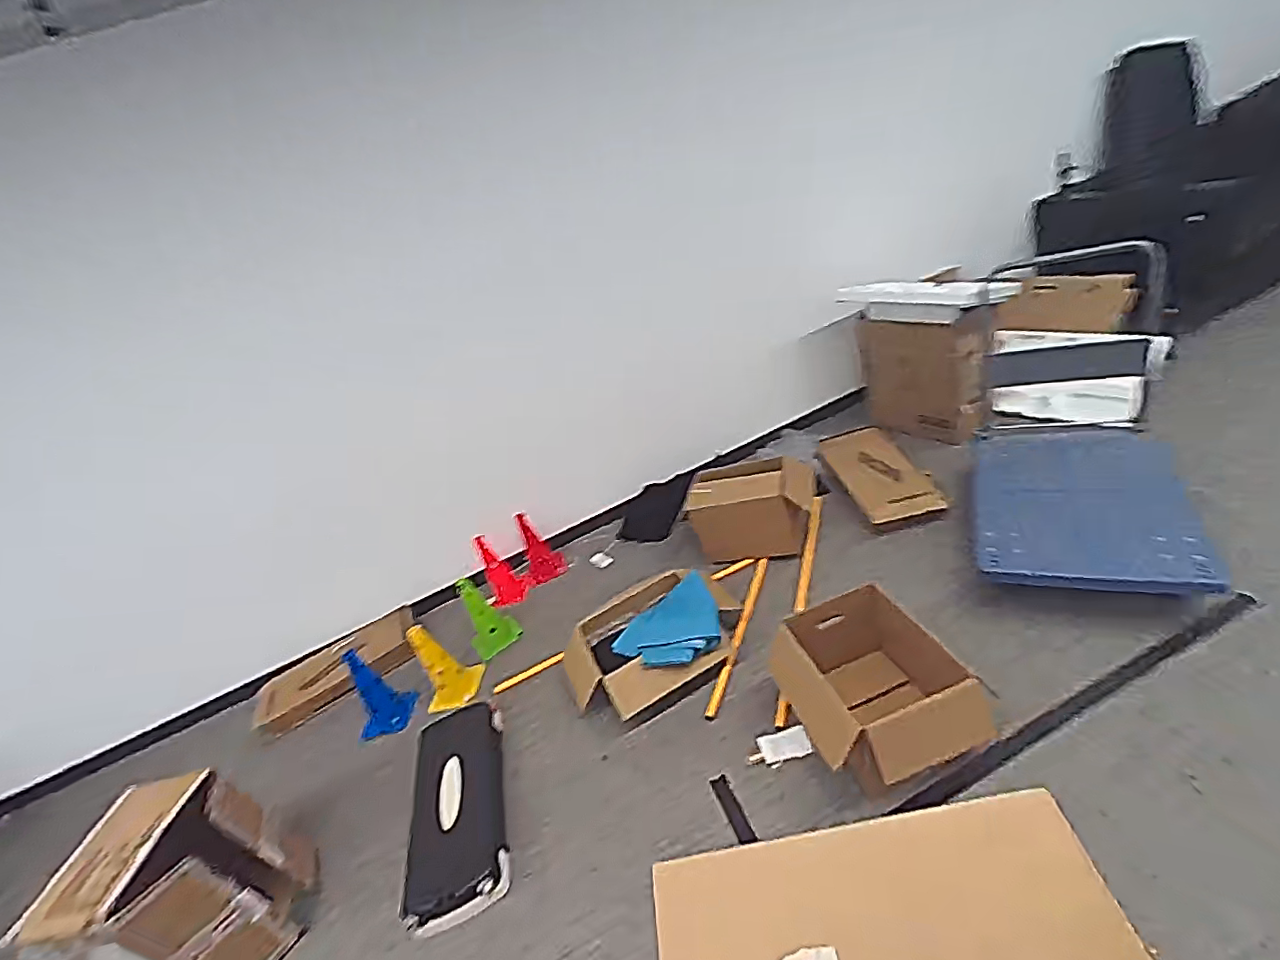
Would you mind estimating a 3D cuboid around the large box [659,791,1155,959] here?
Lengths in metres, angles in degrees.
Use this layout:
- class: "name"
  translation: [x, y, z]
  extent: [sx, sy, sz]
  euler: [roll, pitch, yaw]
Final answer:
- class: "large box"
  translation: [0.267, 0.556, 0.529]
  extent: [0.408, 0.320, 0.320]
  euler: [-16, 41, 8]
